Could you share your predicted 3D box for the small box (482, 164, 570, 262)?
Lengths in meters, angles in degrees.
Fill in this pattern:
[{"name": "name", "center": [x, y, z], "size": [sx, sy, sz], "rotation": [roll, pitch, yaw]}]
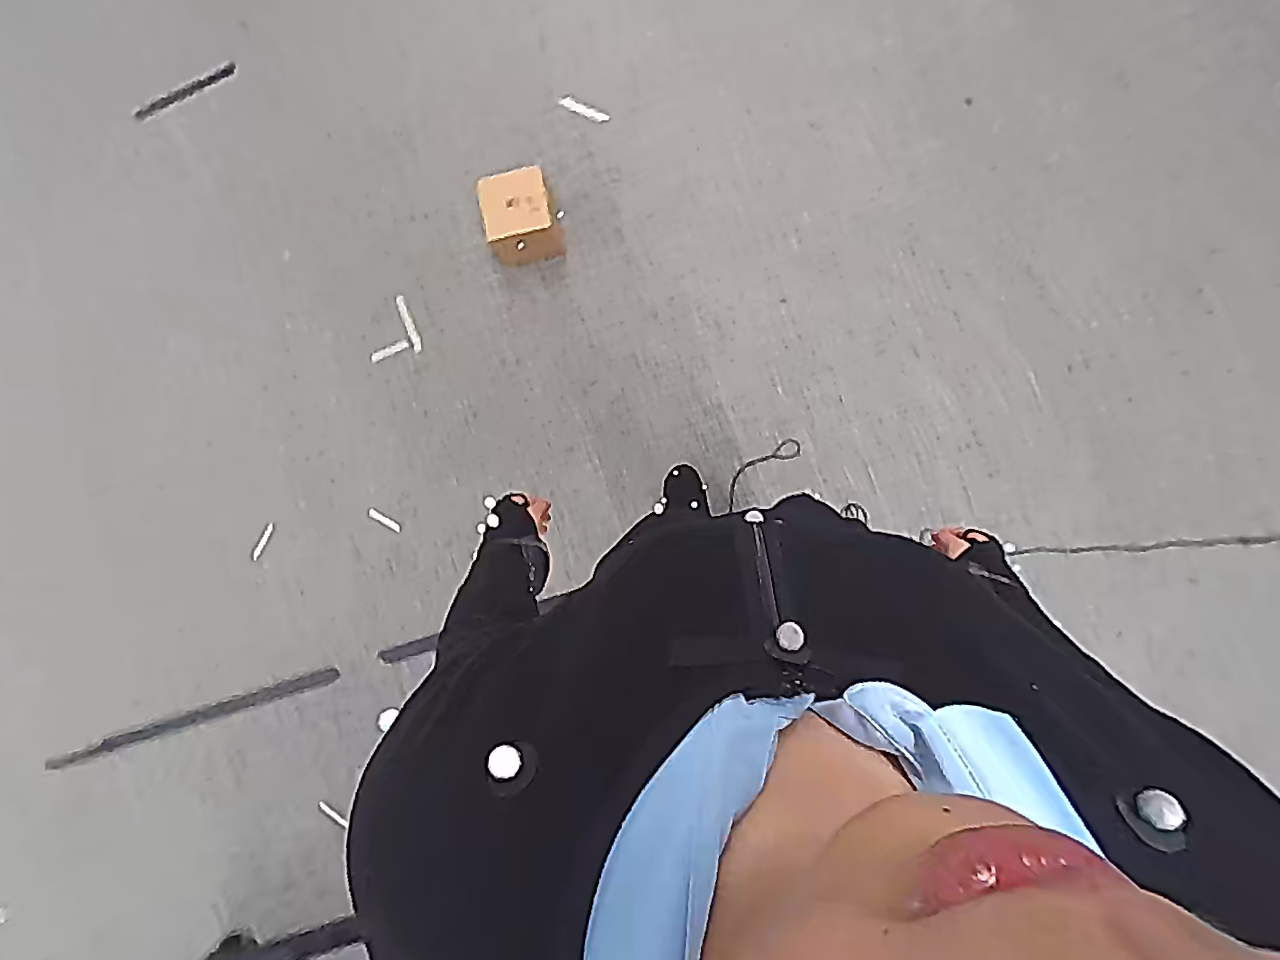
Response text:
[{"name": "small box", "center": [-0.304, -0.716, 1.470], "size": [0.179, 0.176, 0.168], "rotation": [-10, 90, 6]}]
